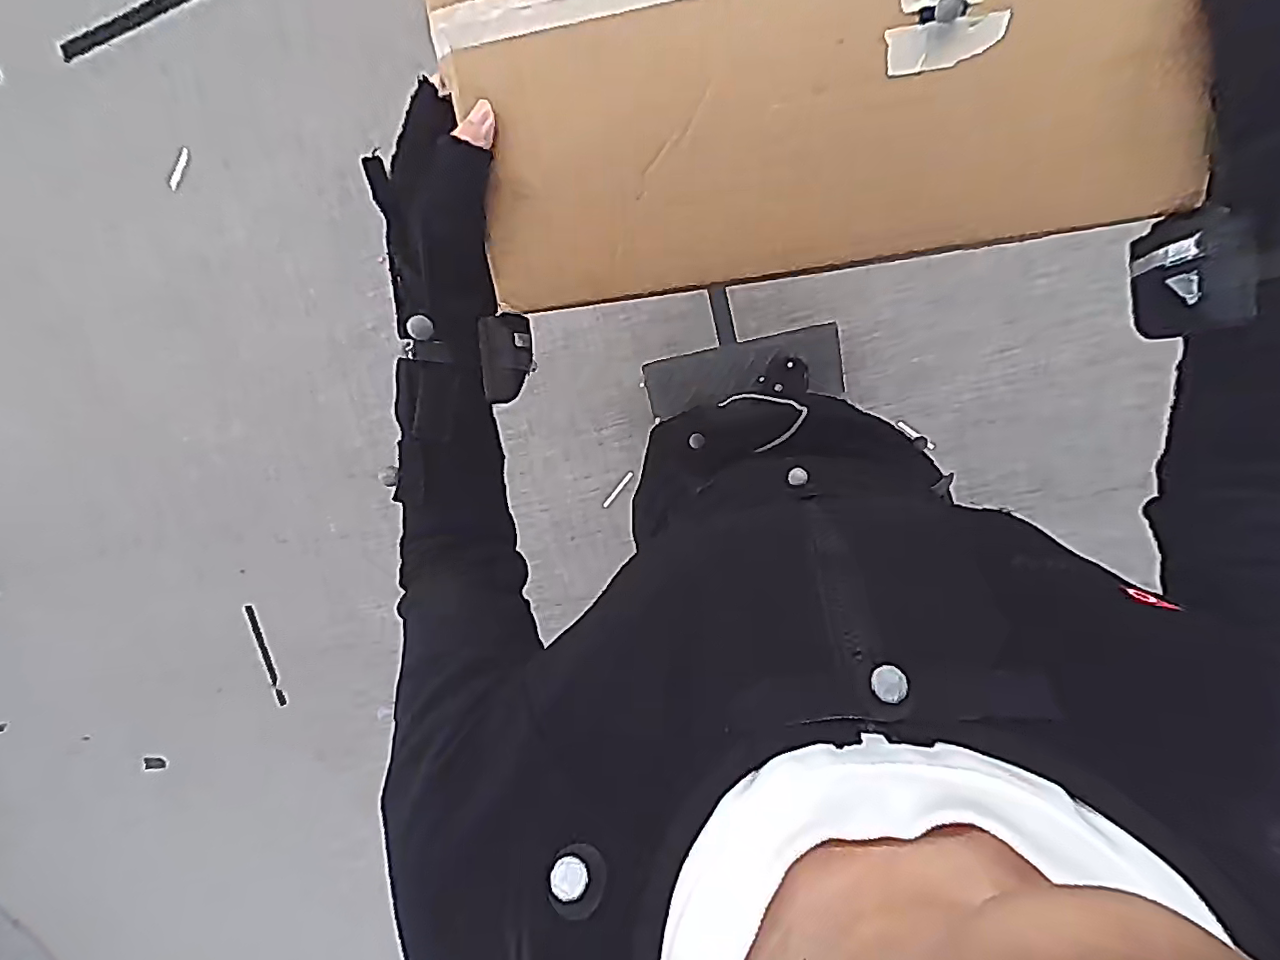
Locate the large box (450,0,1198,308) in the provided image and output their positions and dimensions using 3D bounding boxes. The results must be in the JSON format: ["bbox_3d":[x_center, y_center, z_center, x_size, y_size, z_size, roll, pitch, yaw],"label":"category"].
[{"bbox_3d":[0.100,-0.331,0.432,0.408,0.320,0.320,-6,109,8],"label":"large box"}]

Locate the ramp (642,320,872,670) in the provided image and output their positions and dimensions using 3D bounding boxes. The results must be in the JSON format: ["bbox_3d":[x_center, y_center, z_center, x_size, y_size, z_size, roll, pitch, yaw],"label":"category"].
[{"bbox_3d":[0.356,0.106,1.516,0.509,0.206,0.991,-12,99,10],"label":"ramp"}]
